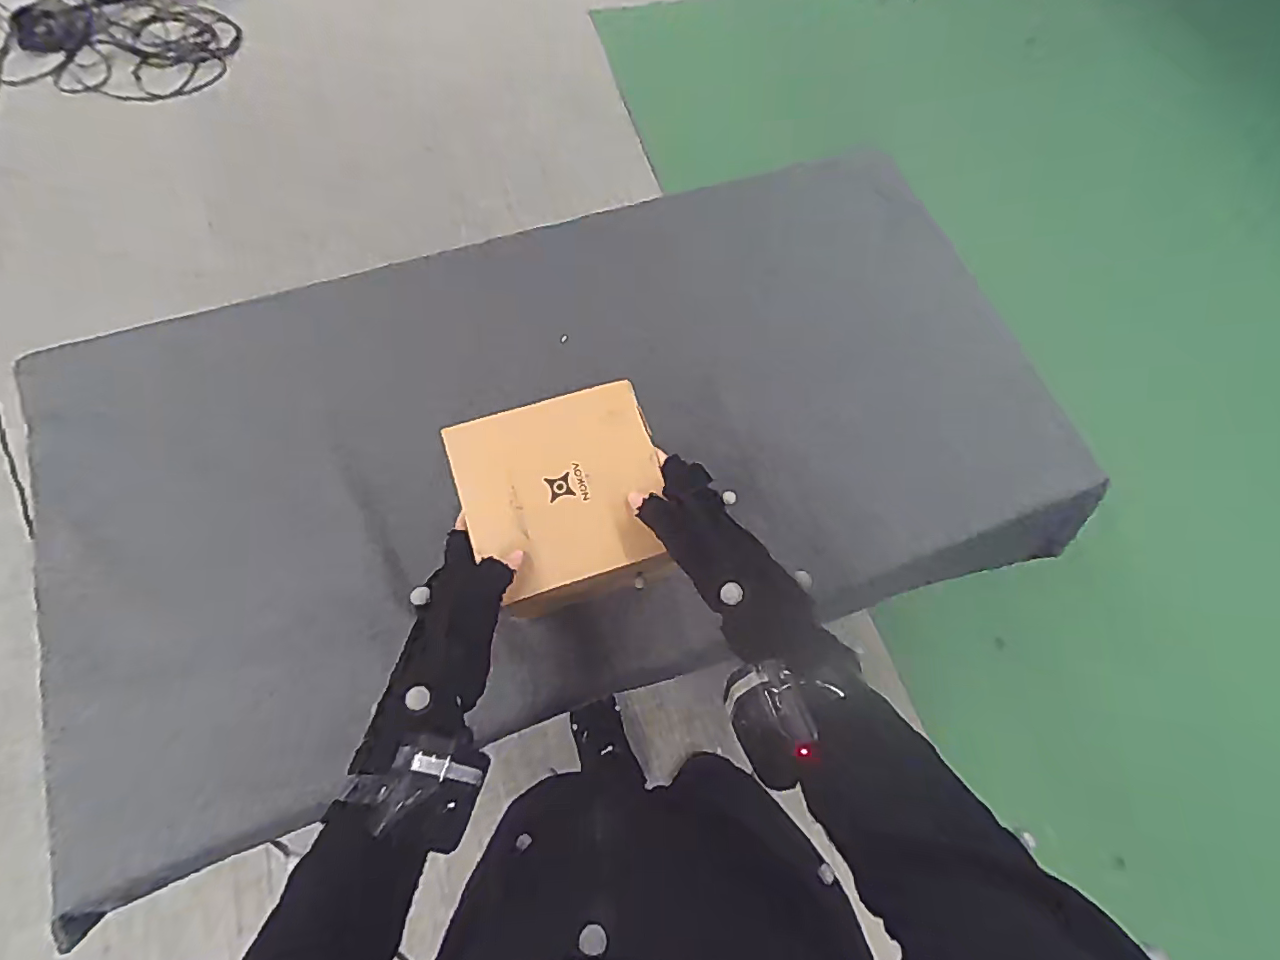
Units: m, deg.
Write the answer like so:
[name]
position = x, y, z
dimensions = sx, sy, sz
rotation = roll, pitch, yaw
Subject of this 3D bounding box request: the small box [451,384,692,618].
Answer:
[small box]
position = -0.066, 0.031, 0.544
dimensions = 0.179, 0.176, 0.168
rotation = -18, 74, -8
